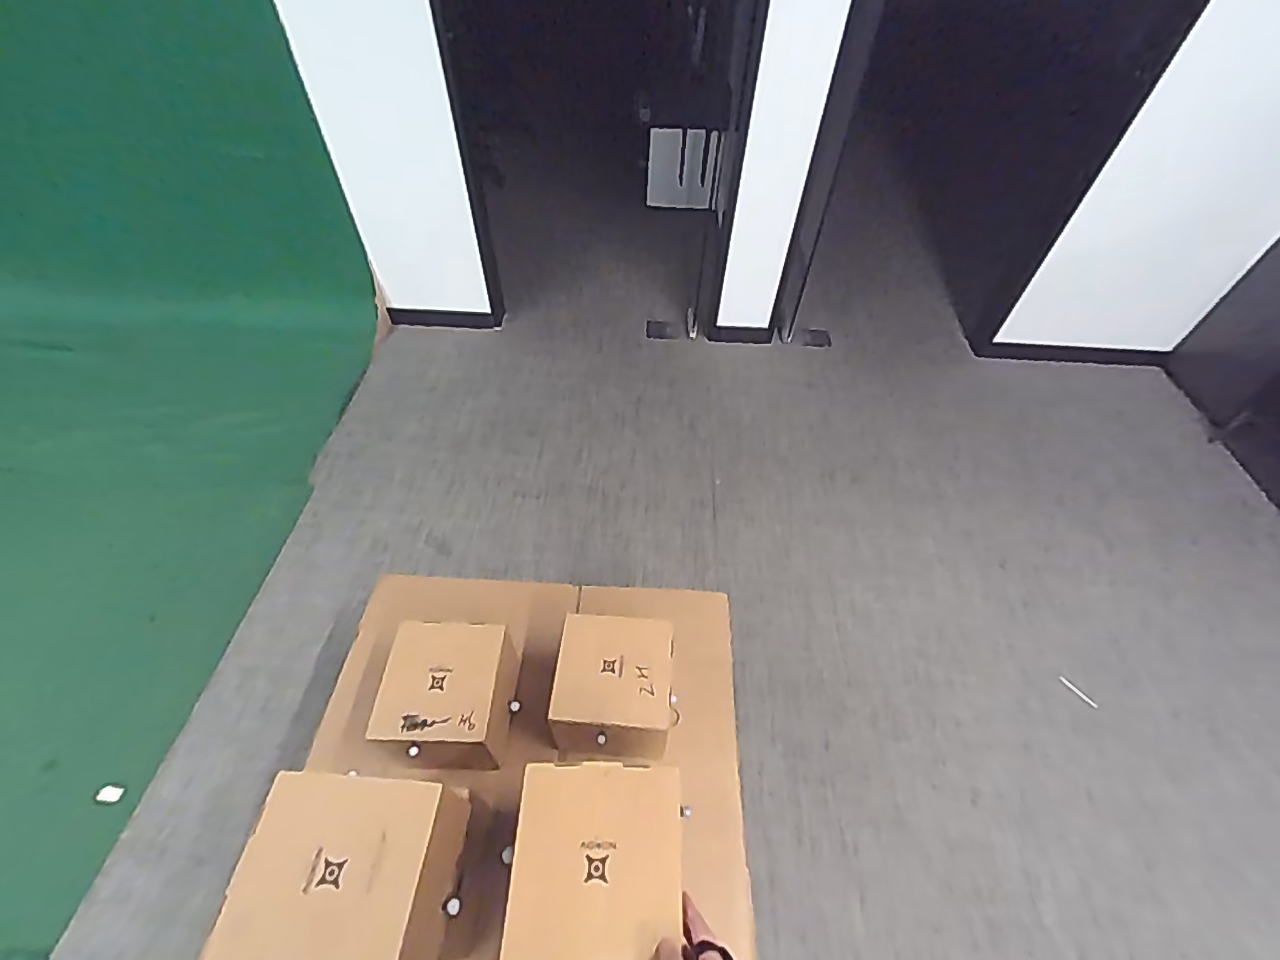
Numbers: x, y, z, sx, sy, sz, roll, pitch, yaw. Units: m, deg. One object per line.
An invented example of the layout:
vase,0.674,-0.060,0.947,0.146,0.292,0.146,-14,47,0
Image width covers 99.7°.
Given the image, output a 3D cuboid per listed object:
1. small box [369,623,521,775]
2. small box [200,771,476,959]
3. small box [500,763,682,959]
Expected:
small box,-0.290,0.345,0.853,0.168,0.176,0.179,1,49,1
small box,-0.295,0.424,0.575,0.179,0.176,0.168,4,51,1
small box,-0.040,0.422,0.584,0.168,0.176,0.179,0,49,0
